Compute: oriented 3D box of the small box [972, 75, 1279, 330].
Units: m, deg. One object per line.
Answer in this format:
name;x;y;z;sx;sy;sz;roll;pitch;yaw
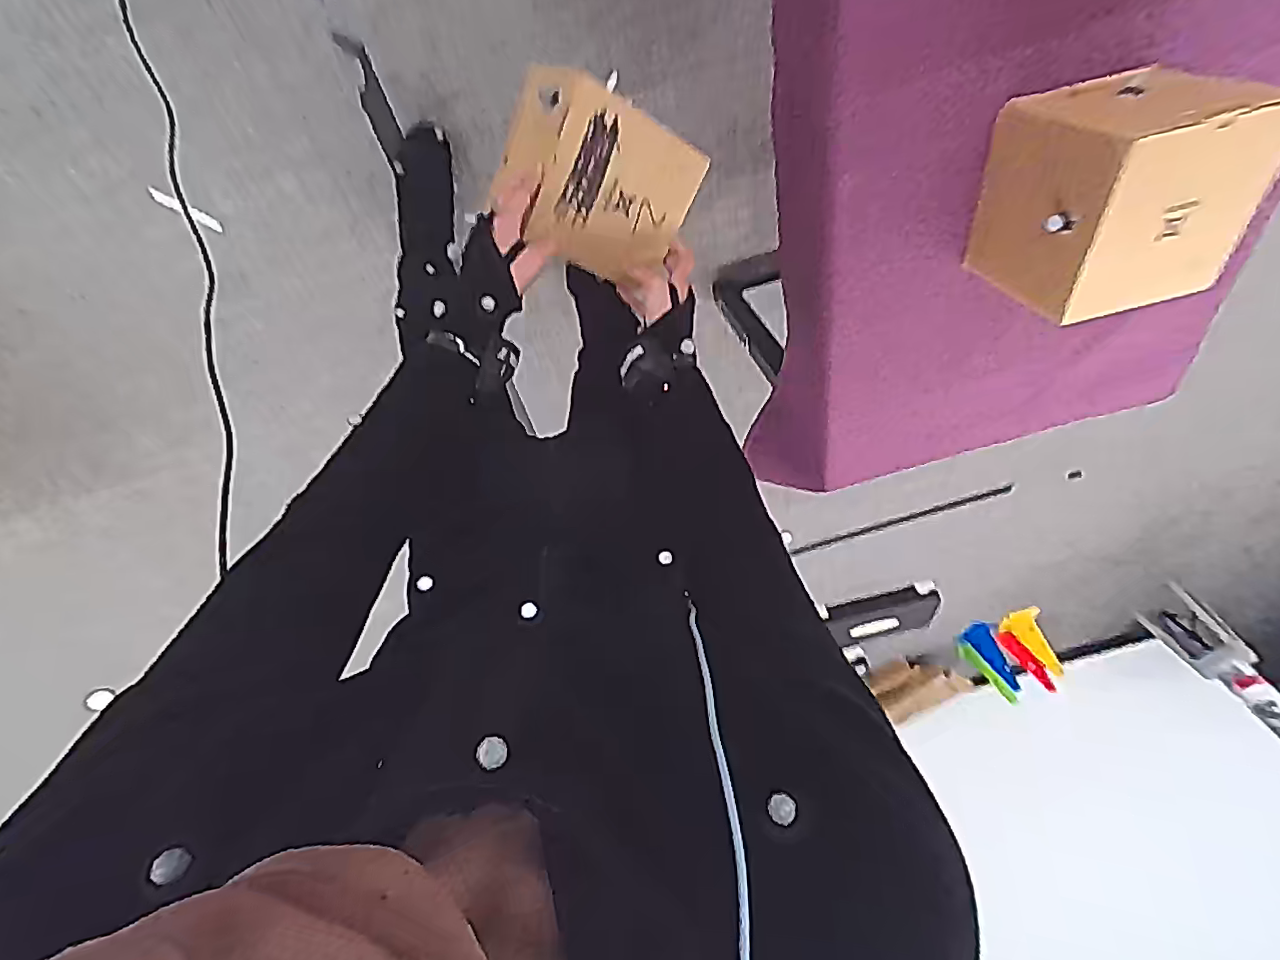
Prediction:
small box;0.484;-0.287;0.559;0.168;0.176;0.179;-14;133;-1
